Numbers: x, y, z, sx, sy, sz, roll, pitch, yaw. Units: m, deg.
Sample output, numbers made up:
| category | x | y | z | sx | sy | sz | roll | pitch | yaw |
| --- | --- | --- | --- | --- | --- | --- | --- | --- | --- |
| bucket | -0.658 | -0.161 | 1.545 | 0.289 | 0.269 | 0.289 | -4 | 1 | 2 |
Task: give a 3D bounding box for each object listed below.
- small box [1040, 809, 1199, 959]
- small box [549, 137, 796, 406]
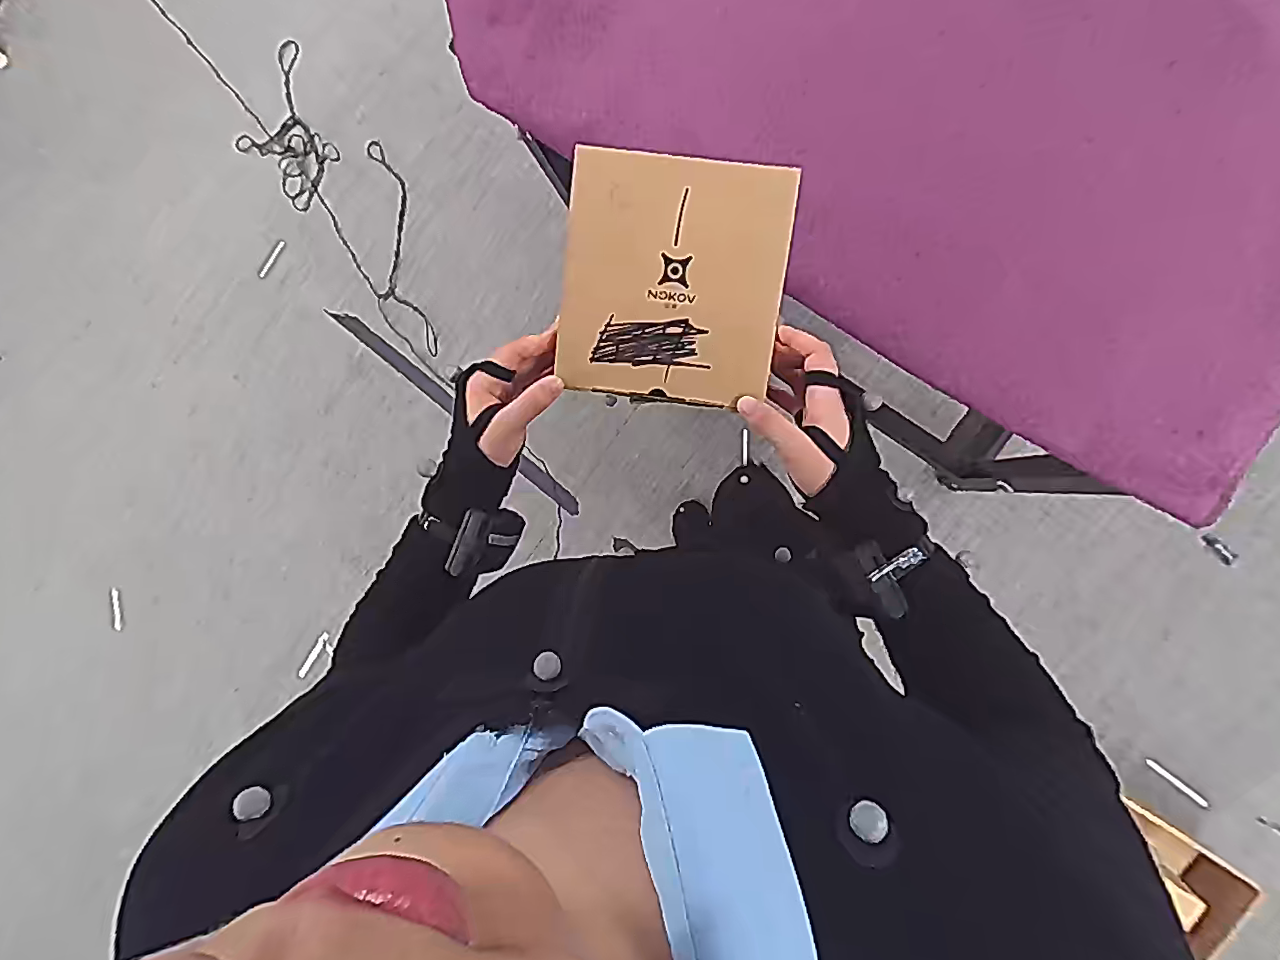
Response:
| category | x | y | z | sx | sy | sz | roll | pitch | yaw |
| --- | --- | --- | --- | --- | --- | --- | --- | --- | --- |
| small box | 1.032 | 0.882 | 1.188 | 0.168 | 0.176 | 0.179 | 31 | 97 | 8 |
| small box | 0.025 | -0.165 | 0.481 | 0.168 | 0.176 | 0.179 | 8 | 98 | 1 |
